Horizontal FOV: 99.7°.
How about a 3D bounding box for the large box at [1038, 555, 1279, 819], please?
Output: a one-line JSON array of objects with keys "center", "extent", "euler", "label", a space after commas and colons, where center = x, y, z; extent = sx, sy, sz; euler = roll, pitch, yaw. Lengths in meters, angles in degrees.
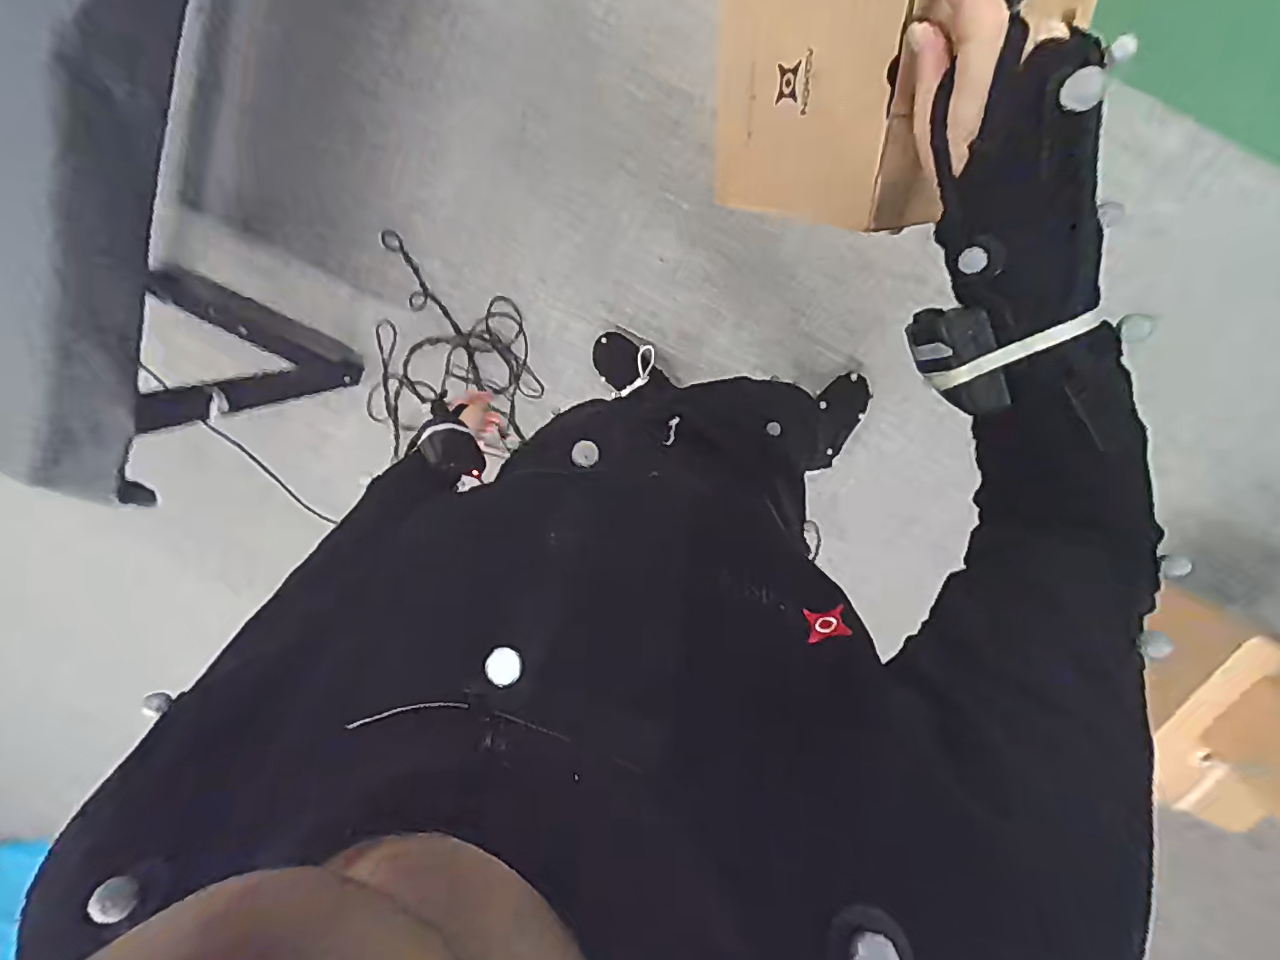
[{"center": [1.233, 0.446, 1.219], "extent": [0.320, 0.320, 0.408], "euler": [23, 111, 0], "label": "large box"}]
